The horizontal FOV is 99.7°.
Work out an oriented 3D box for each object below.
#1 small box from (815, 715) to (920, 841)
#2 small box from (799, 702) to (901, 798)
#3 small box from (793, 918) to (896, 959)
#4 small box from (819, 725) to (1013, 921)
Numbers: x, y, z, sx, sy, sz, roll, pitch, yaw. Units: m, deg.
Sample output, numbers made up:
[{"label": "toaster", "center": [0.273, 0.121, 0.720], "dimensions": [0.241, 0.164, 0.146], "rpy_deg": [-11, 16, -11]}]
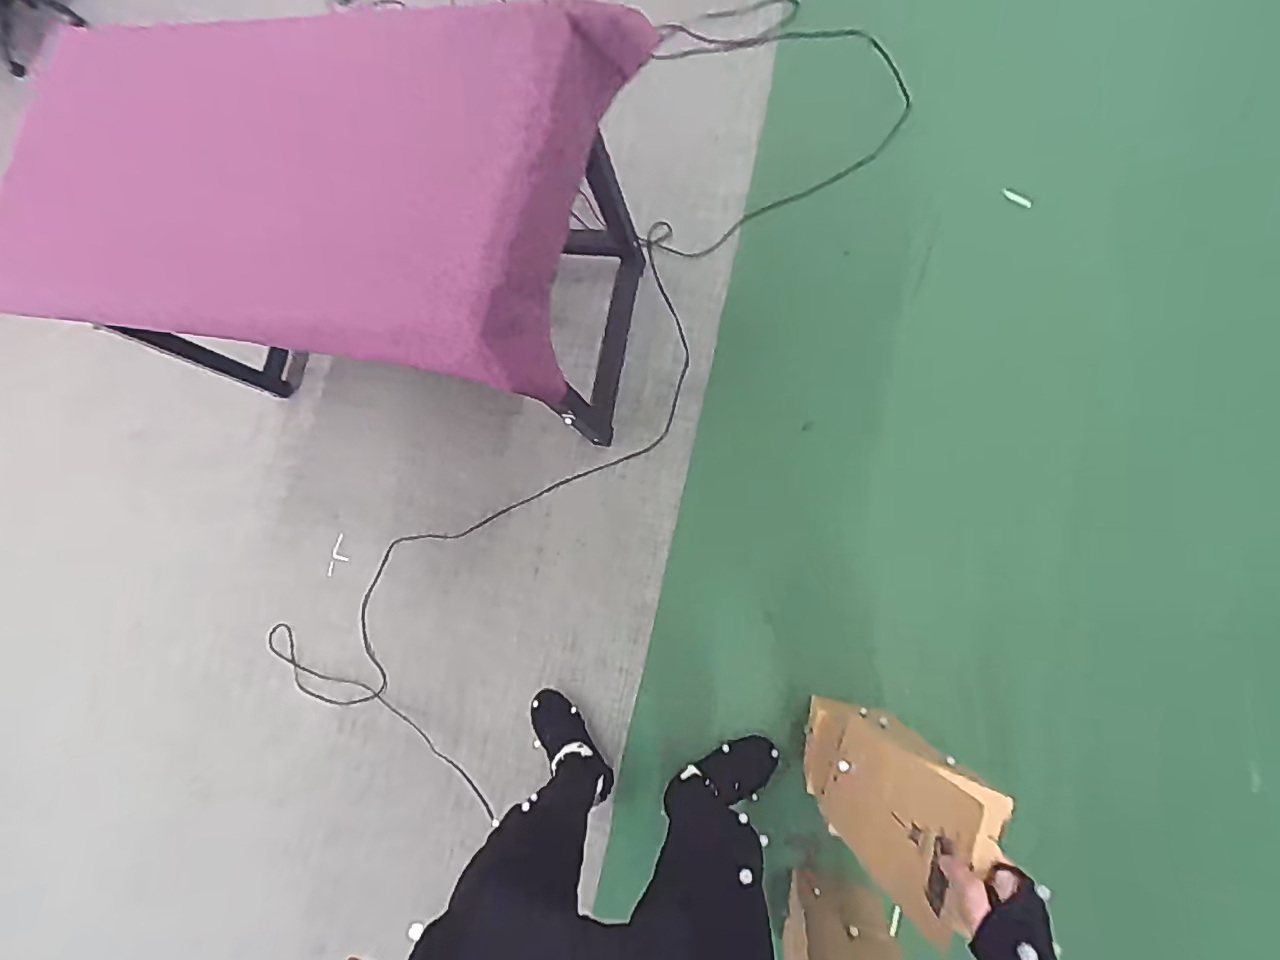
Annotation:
[{"label": "small box", "center": [0.426, 0.559, 1.000], "dimensions": [0.168, 0.176, 0.179], "rpy_deg": [10, 80, 13]}, {"label": "small box", "center": [0.444, 0.589, 1.159], "dimensions": [0.179, 0.176, 0.168], "rpy_deg": [9, 80, 13]}, {"label": "small box", "center": [0.353, 0.916, 0.939], "dimensions": [0.179, 0.176, 0.168], "rpy_deg": [12, 82, 16]}, {"label": "small box", "center": [0.407, 0.503, 0.825], "dimensions": [0.179, 0.176, 0.168], "rpy_deg": [25, 81, 1]}]
